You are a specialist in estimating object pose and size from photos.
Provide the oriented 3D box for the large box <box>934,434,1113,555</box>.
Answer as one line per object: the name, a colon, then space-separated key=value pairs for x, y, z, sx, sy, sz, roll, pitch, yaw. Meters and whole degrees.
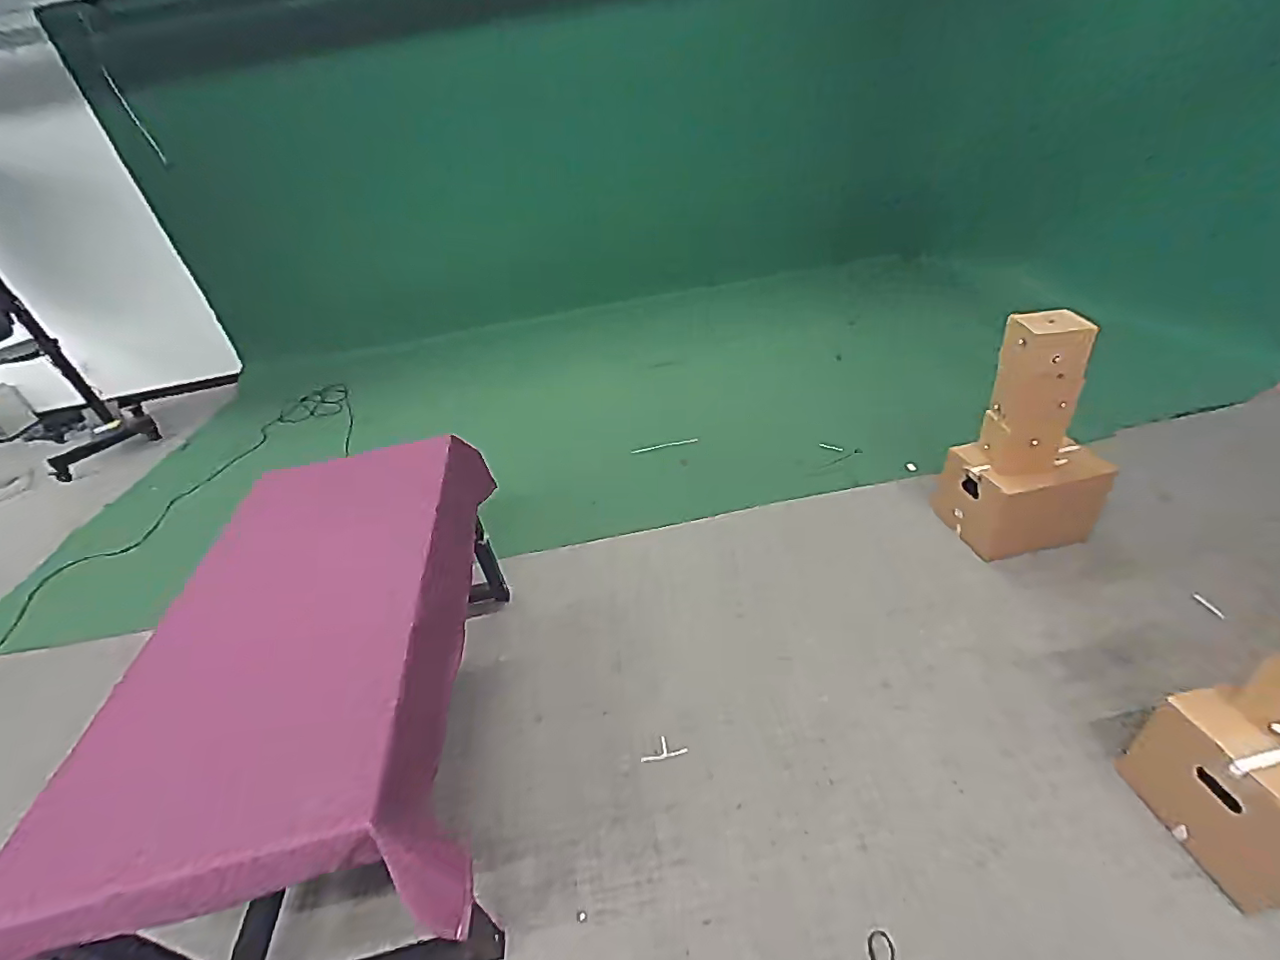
large box: x=1.384 y=0.035 z=1.997 sx=0.408 sy=0.320 sz=0.320 roll=-11 pitch=35 yaw=-3

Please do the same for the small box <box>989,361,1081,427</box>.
small box: x=1.285 y=-0.289 z=1.772 sx=0.179 sy=0.176 sz=0.168 roll=-4 pitch=34 yaw=10

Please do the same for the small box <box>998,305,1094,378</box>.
small box: x=1.256 y=-0.427 z=1.686 sx=0.168 sy=0.176 sz=0.179 roll=-3 pitch=35 yaw=9

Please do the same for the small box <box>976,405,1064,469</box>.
small box: x=1.299 y=-0.153 z=1.861 sx=0.179 sy=0.176 sz=0.168 roll=-6 pitch=35 yaw=6
